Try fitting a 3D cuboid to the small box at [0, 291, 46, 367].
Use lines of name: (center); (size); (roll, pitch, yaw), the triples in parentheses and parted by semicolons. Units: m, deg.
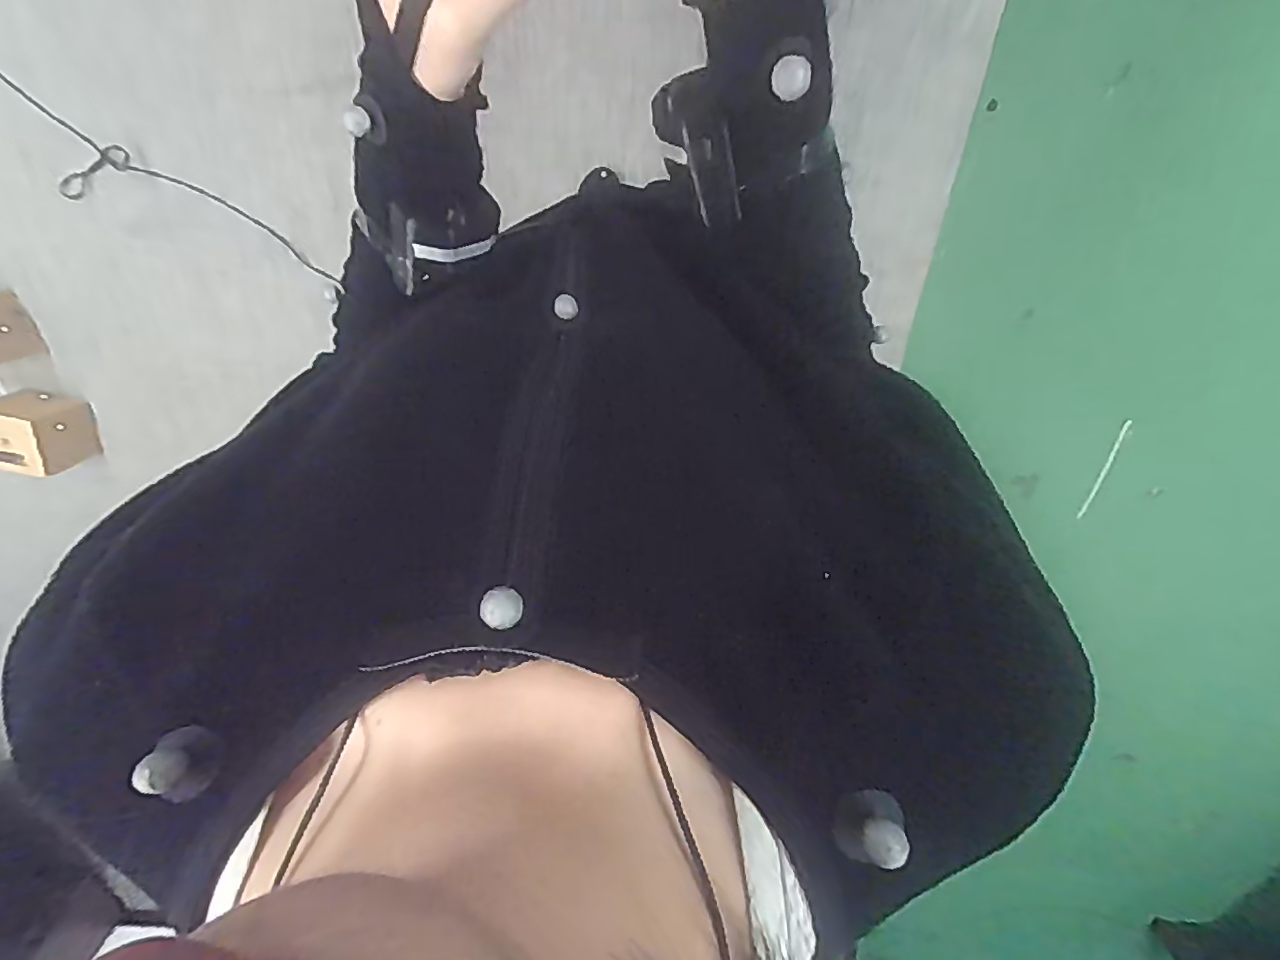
small box: (-1.700, -0.381, 1.381); (0.179, 0.176, 0.168); (-3, 118, 4)
